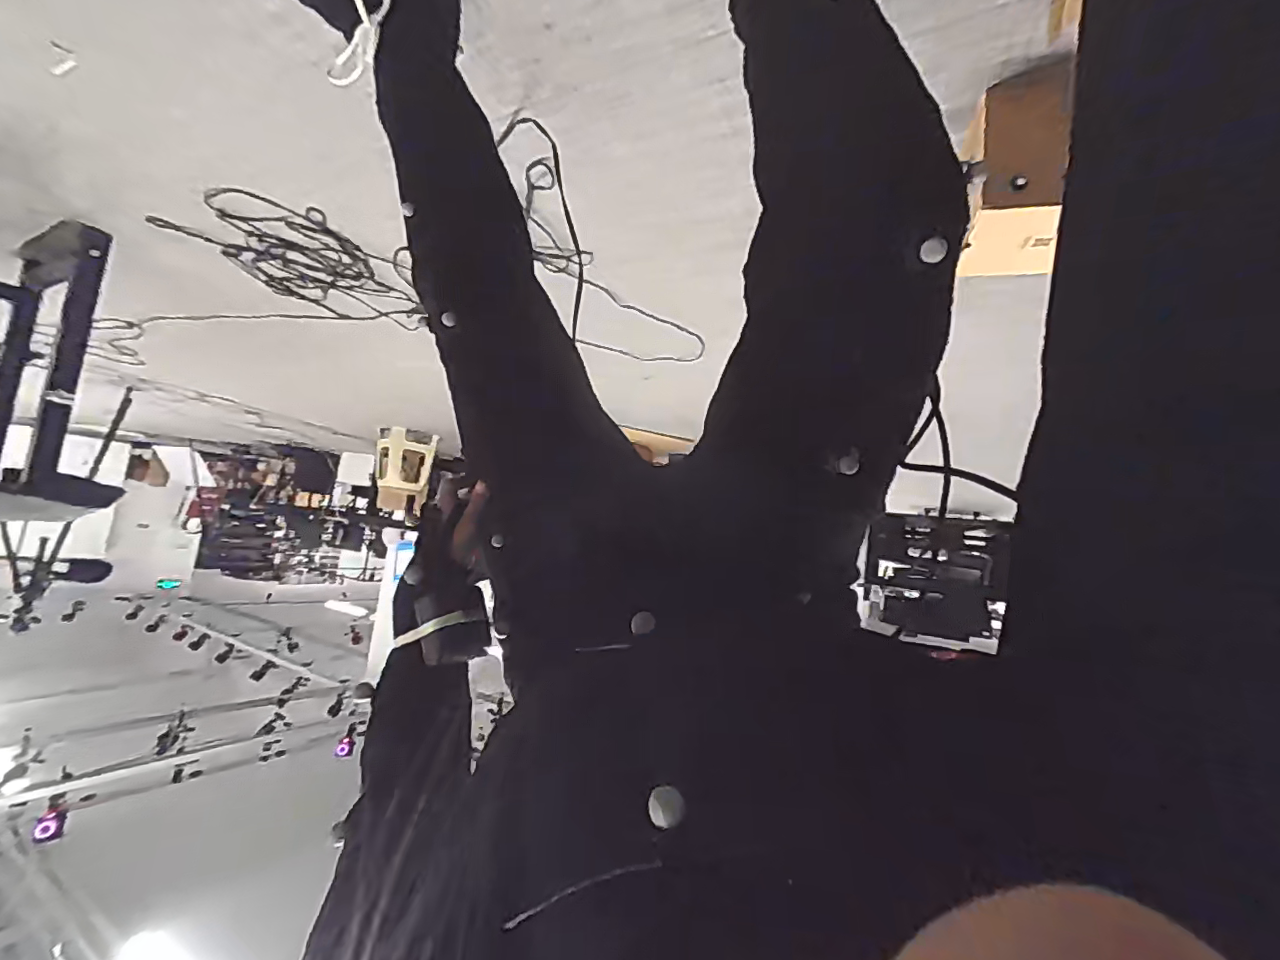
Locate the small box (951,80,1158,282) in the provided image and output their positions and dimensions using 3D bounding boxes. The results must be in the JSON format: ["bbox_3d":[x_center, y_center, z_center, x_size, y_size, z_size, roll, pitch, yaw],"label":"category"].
[{"bbox_3d":[0.528,-0.382,0.709,0.179,0.176,0.168,5,173,19],"label":"small box"}]
